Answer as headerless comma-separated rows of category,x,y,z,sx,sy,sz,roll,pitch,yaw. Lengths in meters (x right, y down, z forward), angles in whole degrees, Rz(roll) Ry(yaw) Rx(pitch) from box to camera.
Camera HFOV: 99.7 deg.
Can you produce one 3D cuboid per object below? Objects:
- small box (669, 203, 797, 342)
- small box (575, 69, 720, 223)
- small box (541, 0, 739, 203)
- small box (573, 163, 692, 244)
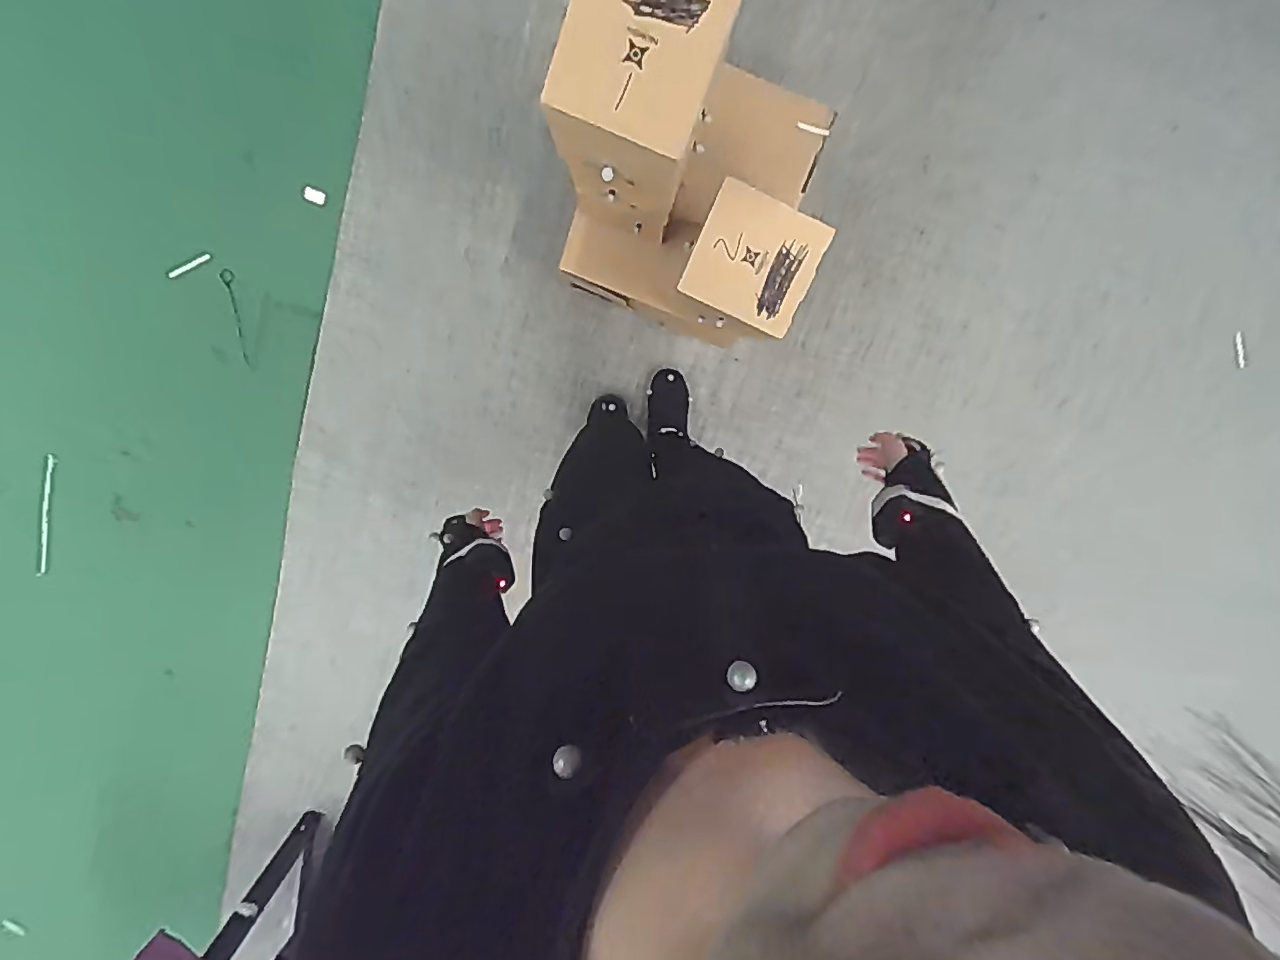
small box,0.159,-0.370,1.000,0.168,0.176,0.179,22,100,-5
small box,0.001,-0.516,0.805,0.168,0.176,0.179,21,103,-5
small box,-0.003,-0.470,0.648,0.168,0.176,0.179,21,102,-4
small box,-0.005,-0.548,0.965,0.168,0.176,0.179,21,100,-4
